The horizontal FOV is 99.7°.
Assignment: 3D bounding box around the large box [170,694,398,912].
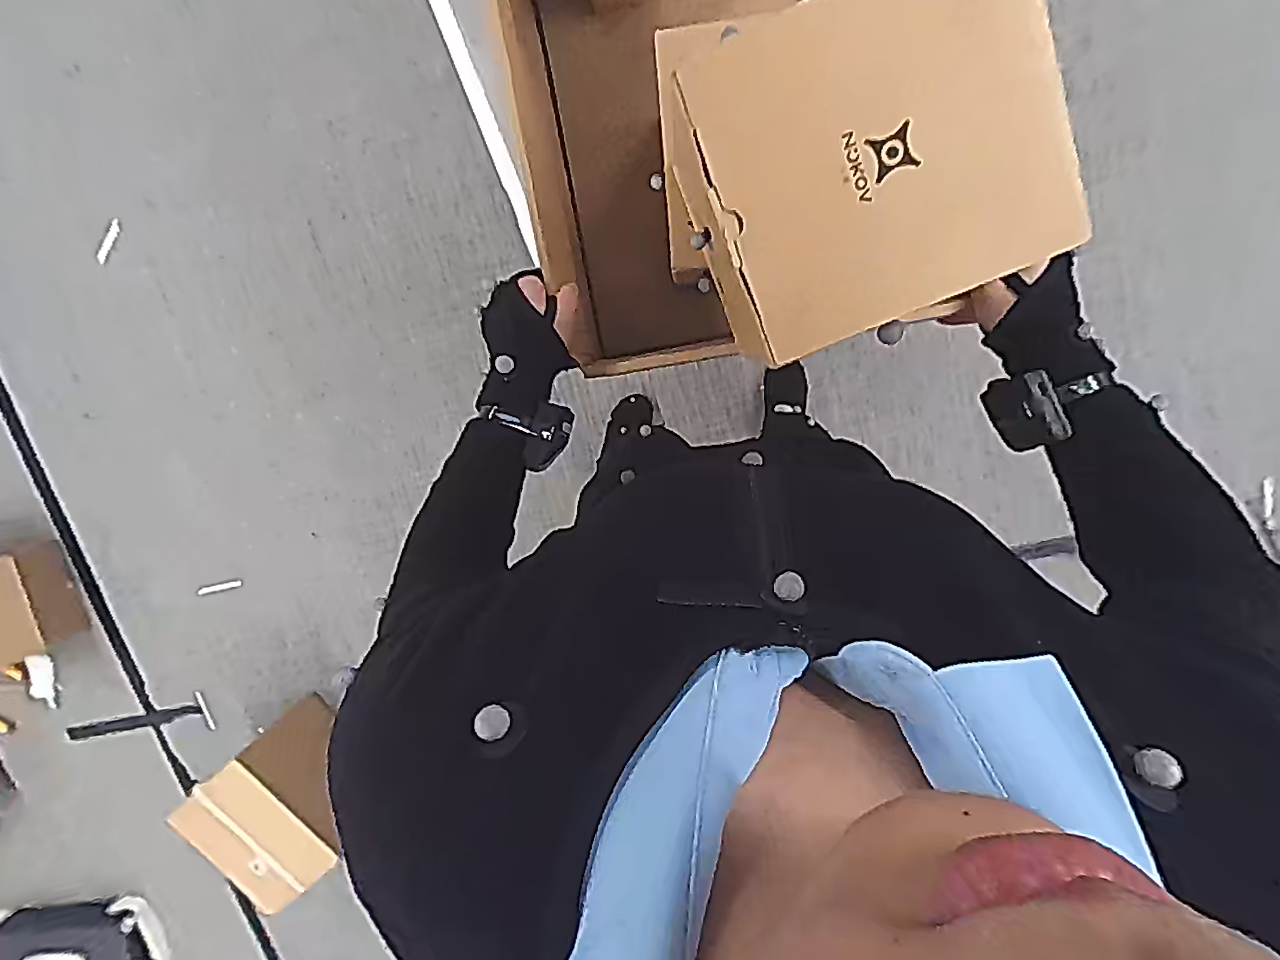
[{"bbox_3d":[-1.028,0.938,1.608,0.320,0.320,0.408,-40,97,12],"label":"large box"}]
